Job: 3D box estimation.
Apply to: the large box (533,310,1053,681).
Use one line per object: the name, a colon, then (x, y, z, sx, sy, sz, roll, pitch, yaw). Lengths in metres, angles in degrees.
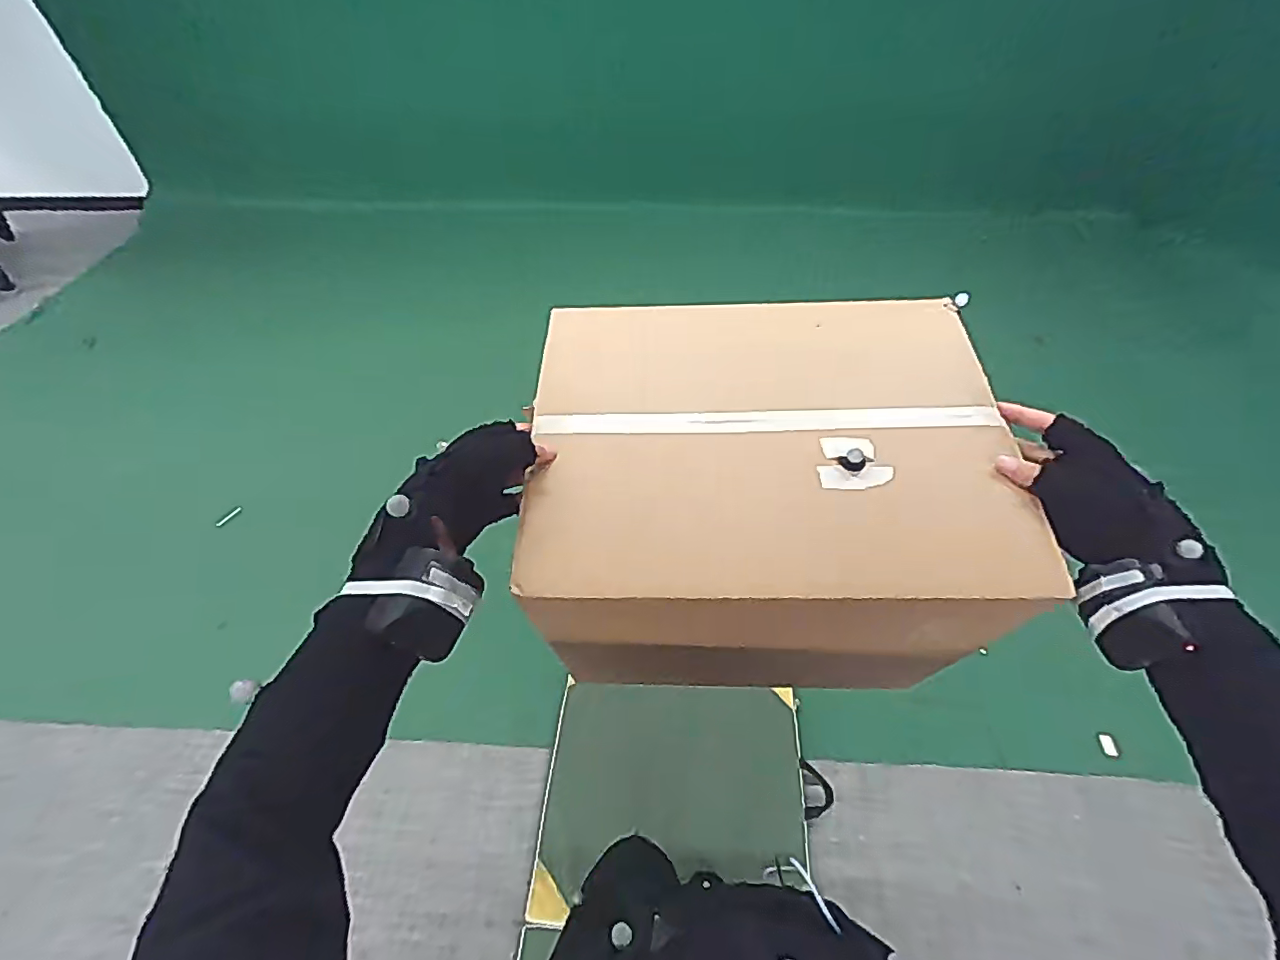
large box: (0.118, 0.034, 0.613, 0.408, 0.320, 0.320, 0, 59, 2)
